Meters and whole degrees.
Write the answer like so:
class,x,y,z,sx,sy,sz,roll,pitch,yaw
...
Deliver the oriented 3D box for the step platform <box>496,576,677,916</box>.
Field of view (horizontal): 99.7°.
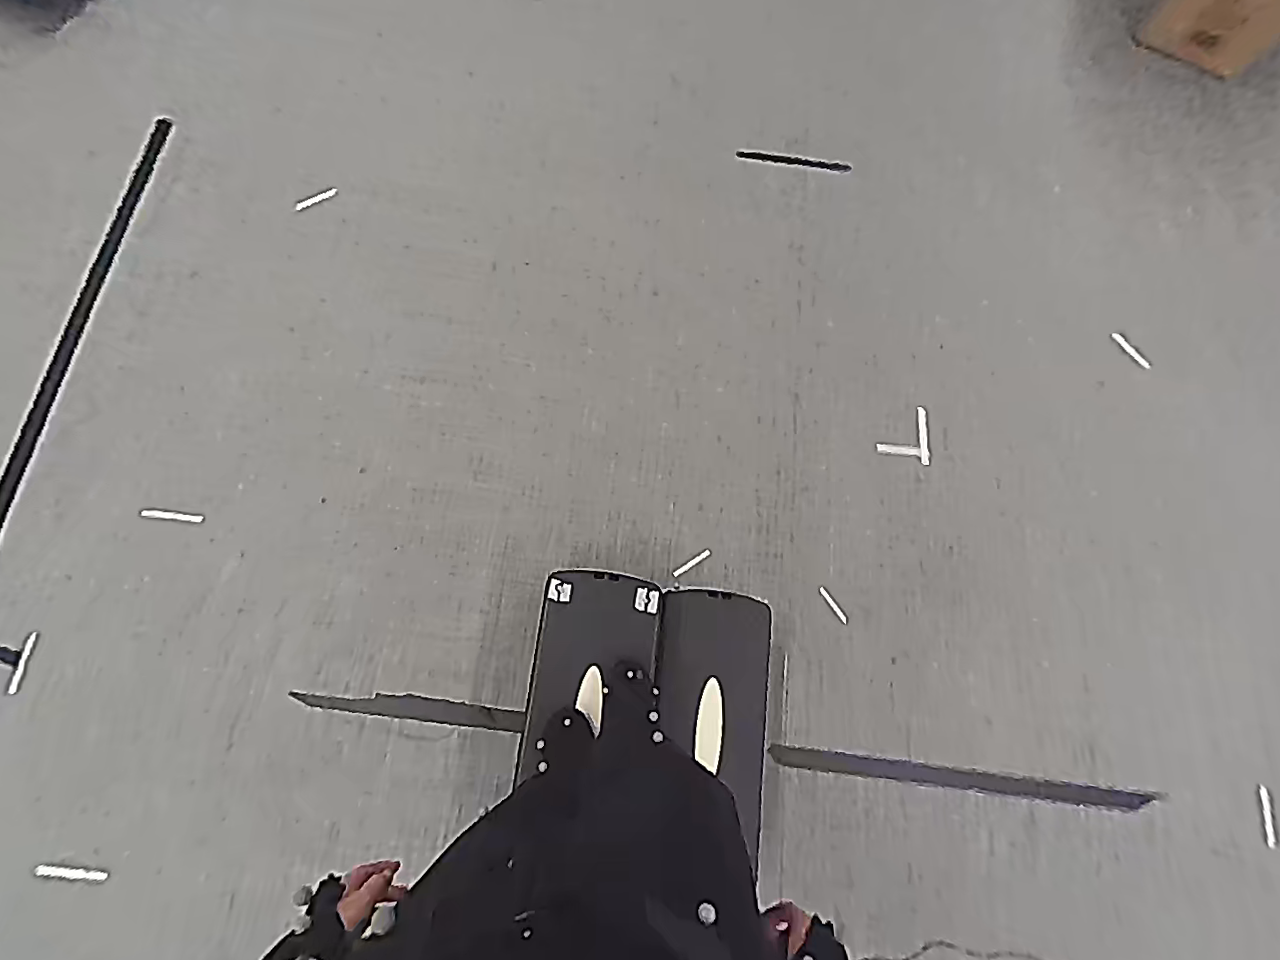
class,x,y,z,sx,sy,sz,roll,pitch,yaw
step platform,-0.107,0.572,1.247,0.286,0.204,0.684,12,72,-1
